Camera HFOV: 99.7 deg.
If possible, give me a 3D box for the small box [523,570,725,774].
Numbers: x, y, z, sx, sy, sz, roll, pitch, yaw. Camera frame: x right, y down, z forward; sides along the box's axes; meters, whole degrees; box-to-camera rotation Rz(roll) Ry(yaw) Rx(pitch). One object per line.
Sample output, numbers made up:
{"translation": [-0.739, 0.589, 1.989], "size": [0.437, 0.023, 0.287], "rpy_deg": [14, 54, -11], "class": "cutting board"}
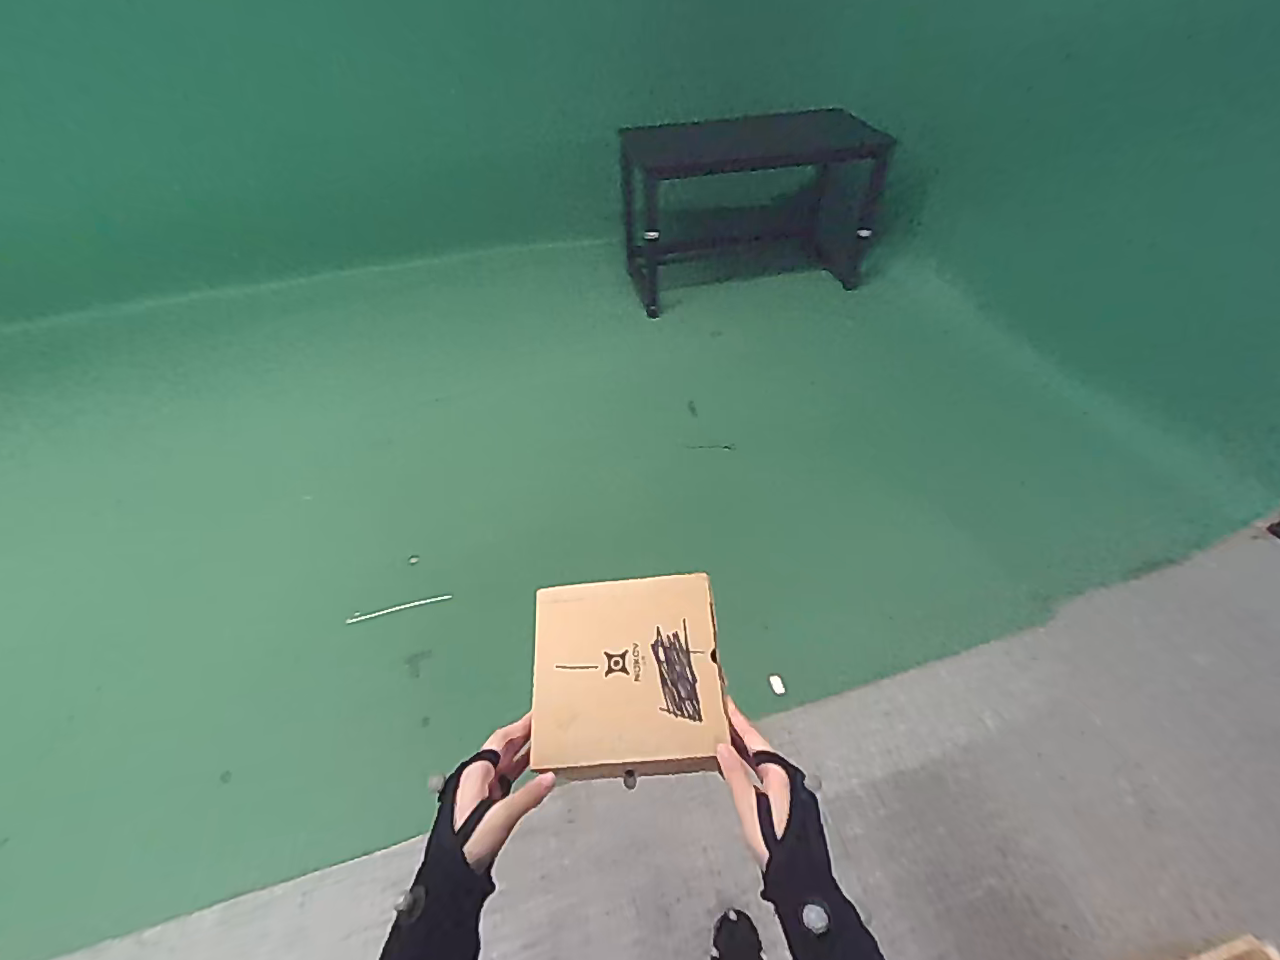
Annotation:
{"translation": [-0.012, 0.207, 0.568], "size": [0.179, 0.176, 0.168], "rpy_deg": [-6, 57, 3], "class": "small box"}
